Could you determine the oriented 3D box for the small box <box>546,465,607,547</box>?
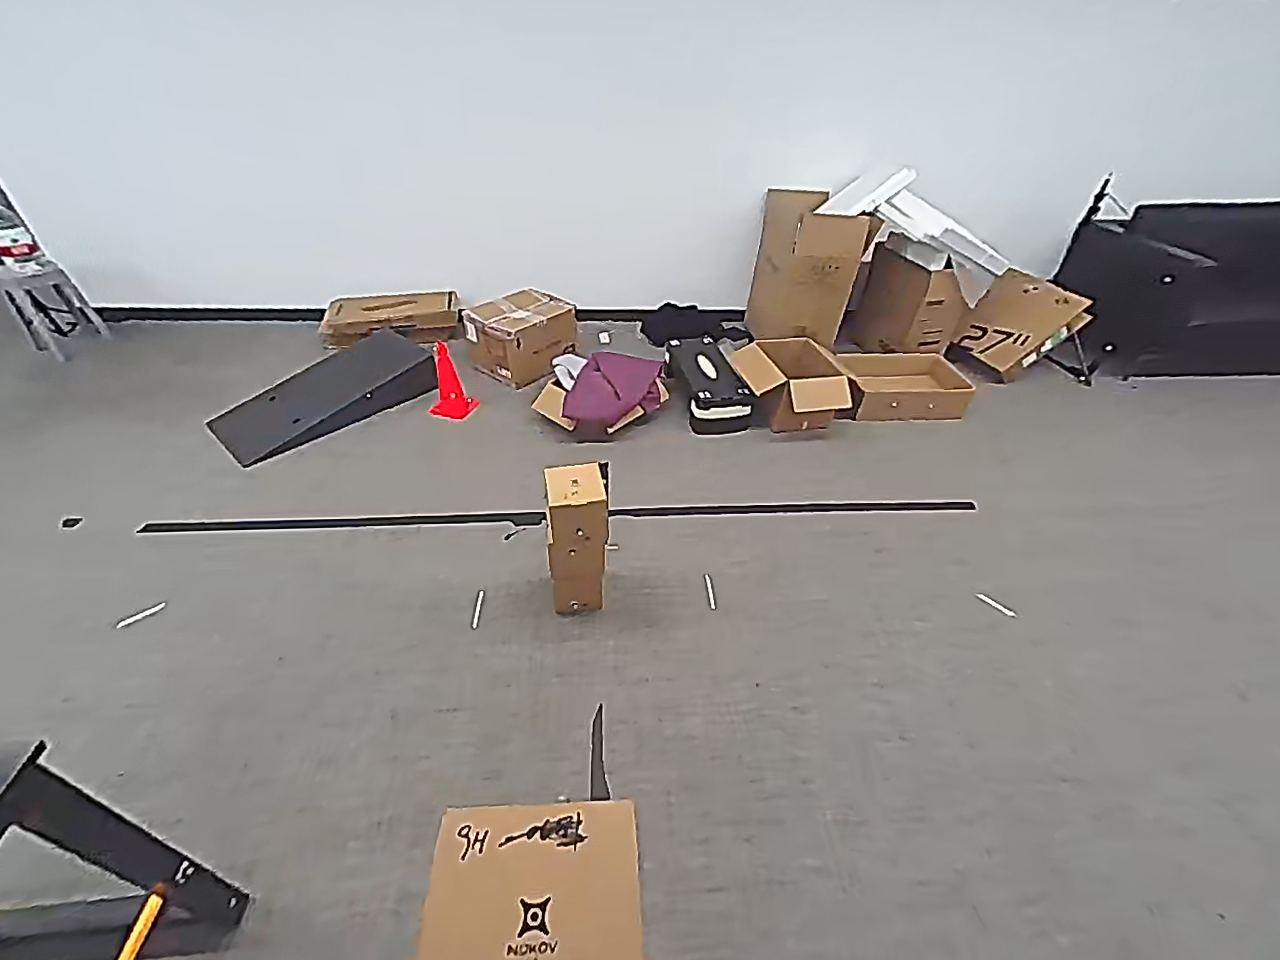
[{"bbox_3d":[-0.192,0.078,1.630,0.168,0.176,0.179,-7,41,-10],"label":"small box"}]

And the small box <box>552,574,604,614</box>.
[{"bbox_3d":[-0.214,0.331,1.841,0.168,0.176,0.179,-6,42,-9],"label":"small box"}]

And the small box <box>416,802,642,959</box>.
[{"bbox_3d":[-0.084,0.396,0.450,0.168,0.176,0.179,0,41,-6],"label":"small box"}]

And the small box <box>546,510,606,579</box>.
[{"bbox_3d":[-0.205,0.203,1.738,0.179,0.176,0.168,-4,40,-8],"label":"small box"}]
